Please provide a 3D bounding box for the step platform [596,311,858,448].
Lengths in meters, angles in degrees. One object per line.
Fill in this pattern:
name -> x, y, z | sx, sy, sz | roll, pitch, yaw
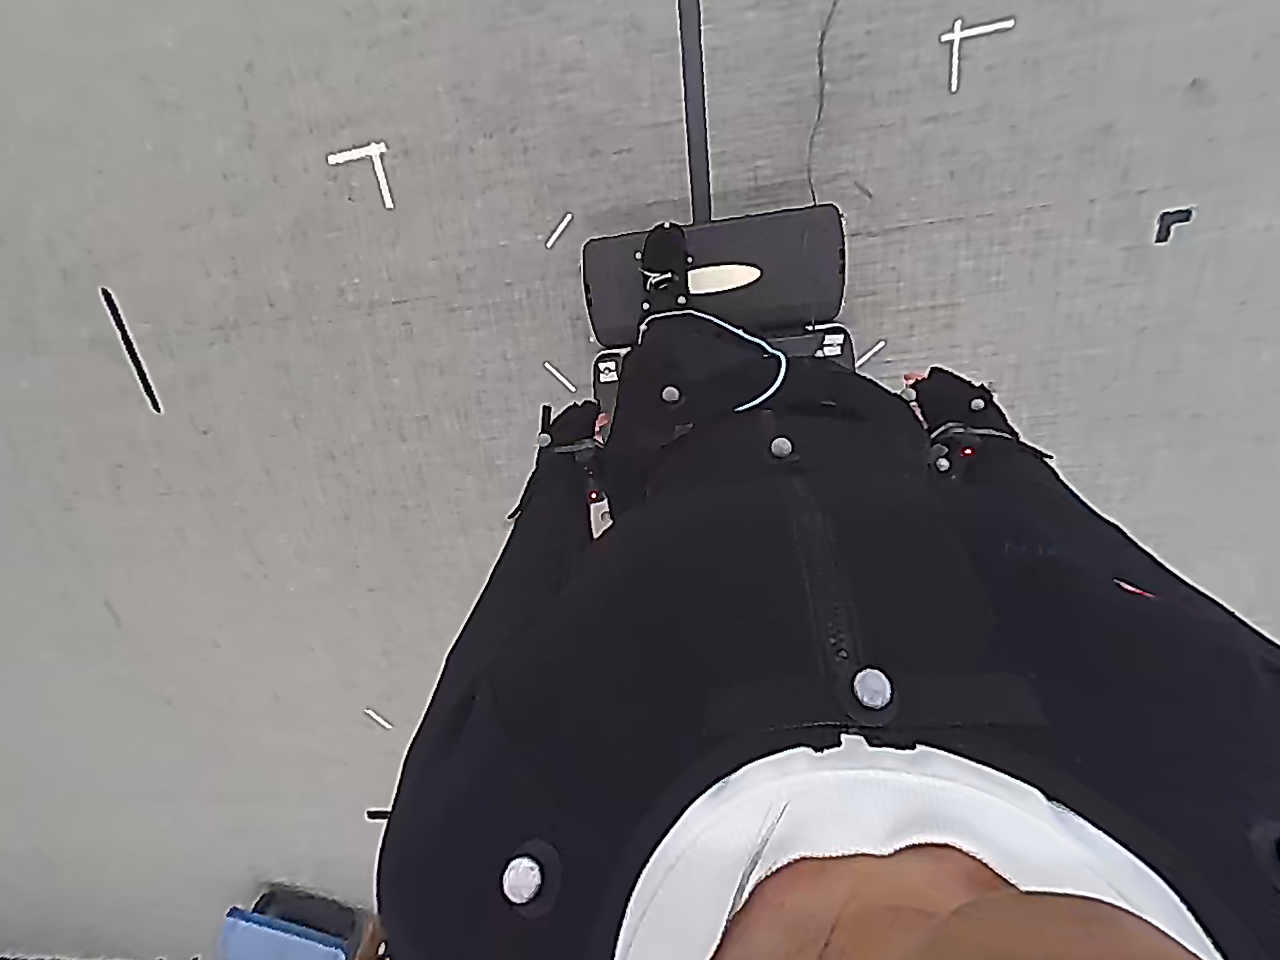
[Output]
step platform -> 0.225, -0.268, 1.467 | 0.684, 0.204, 0.286 | -6, 108, 10
